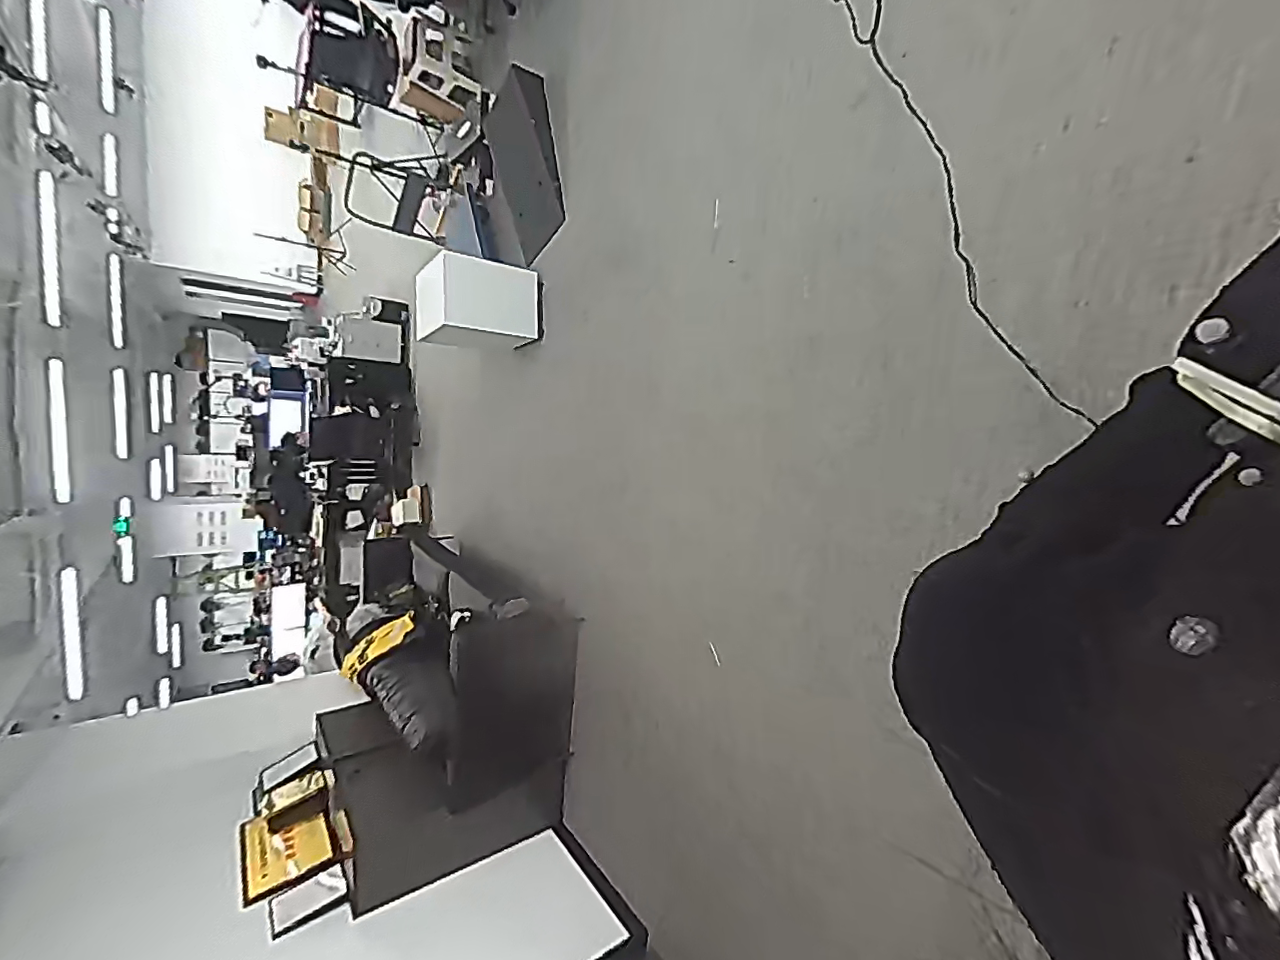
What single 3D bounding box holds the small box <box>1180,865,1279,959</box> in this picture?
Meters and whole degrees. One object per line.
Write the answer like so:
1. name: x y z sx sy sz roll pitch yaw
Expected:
1. small box: 1.121 0.845 0.977 0.179 0.176 0.168 7 97 53
